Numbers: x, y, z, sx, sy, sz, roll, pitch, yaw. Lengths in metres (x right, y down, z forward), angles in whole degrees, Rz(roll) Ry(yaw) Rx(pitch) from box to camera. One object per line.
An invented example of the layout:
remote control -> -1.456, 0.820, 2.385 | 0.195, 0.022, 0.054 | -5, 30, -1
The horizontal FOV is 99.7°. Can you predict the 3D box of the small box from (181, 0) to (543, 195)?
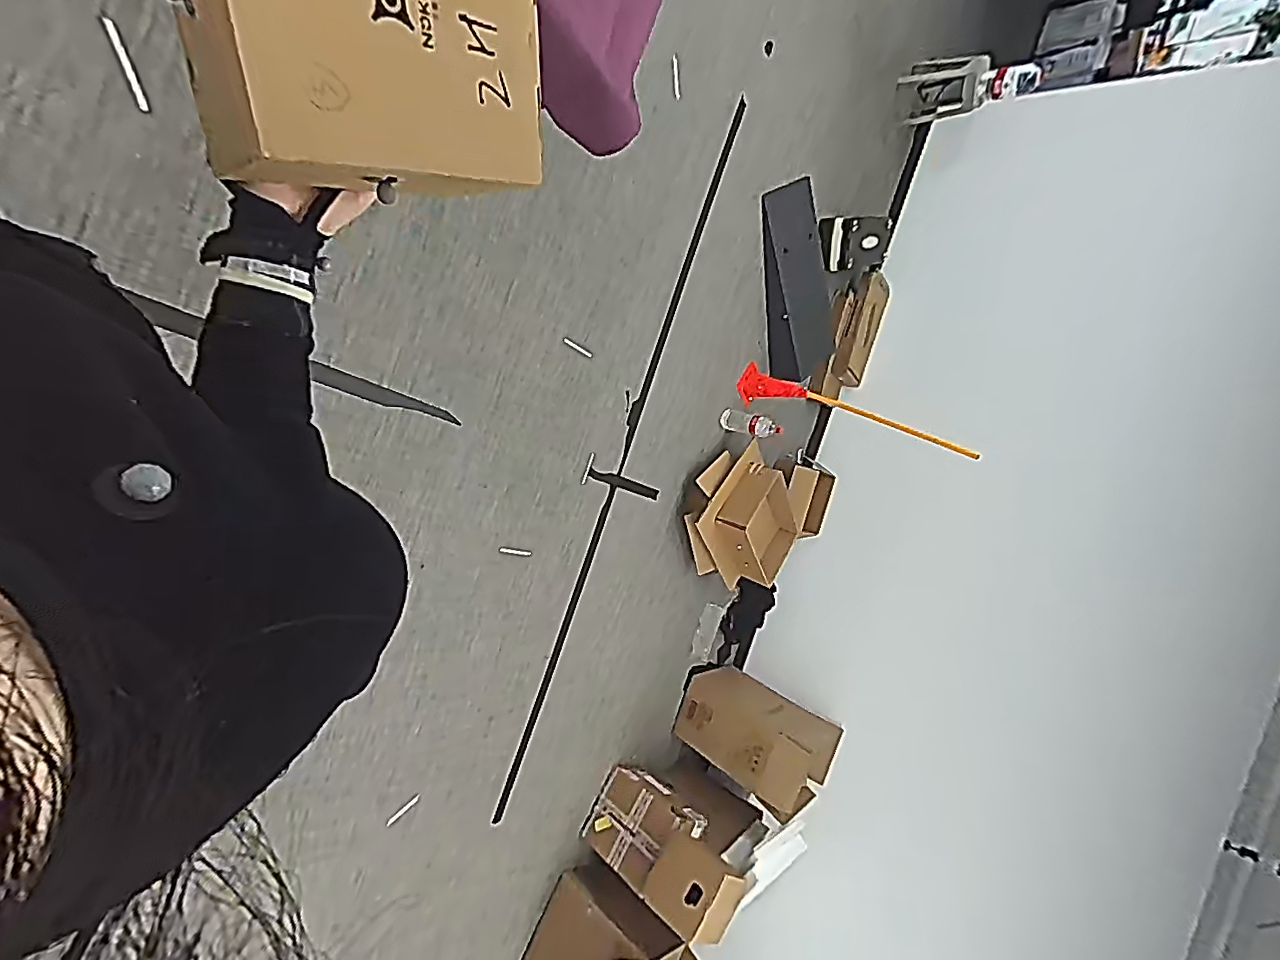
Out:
small box -> -0.186, -0.290, 0.360 | 0.179, 0.176, 0.168 | -20, 122, -39
